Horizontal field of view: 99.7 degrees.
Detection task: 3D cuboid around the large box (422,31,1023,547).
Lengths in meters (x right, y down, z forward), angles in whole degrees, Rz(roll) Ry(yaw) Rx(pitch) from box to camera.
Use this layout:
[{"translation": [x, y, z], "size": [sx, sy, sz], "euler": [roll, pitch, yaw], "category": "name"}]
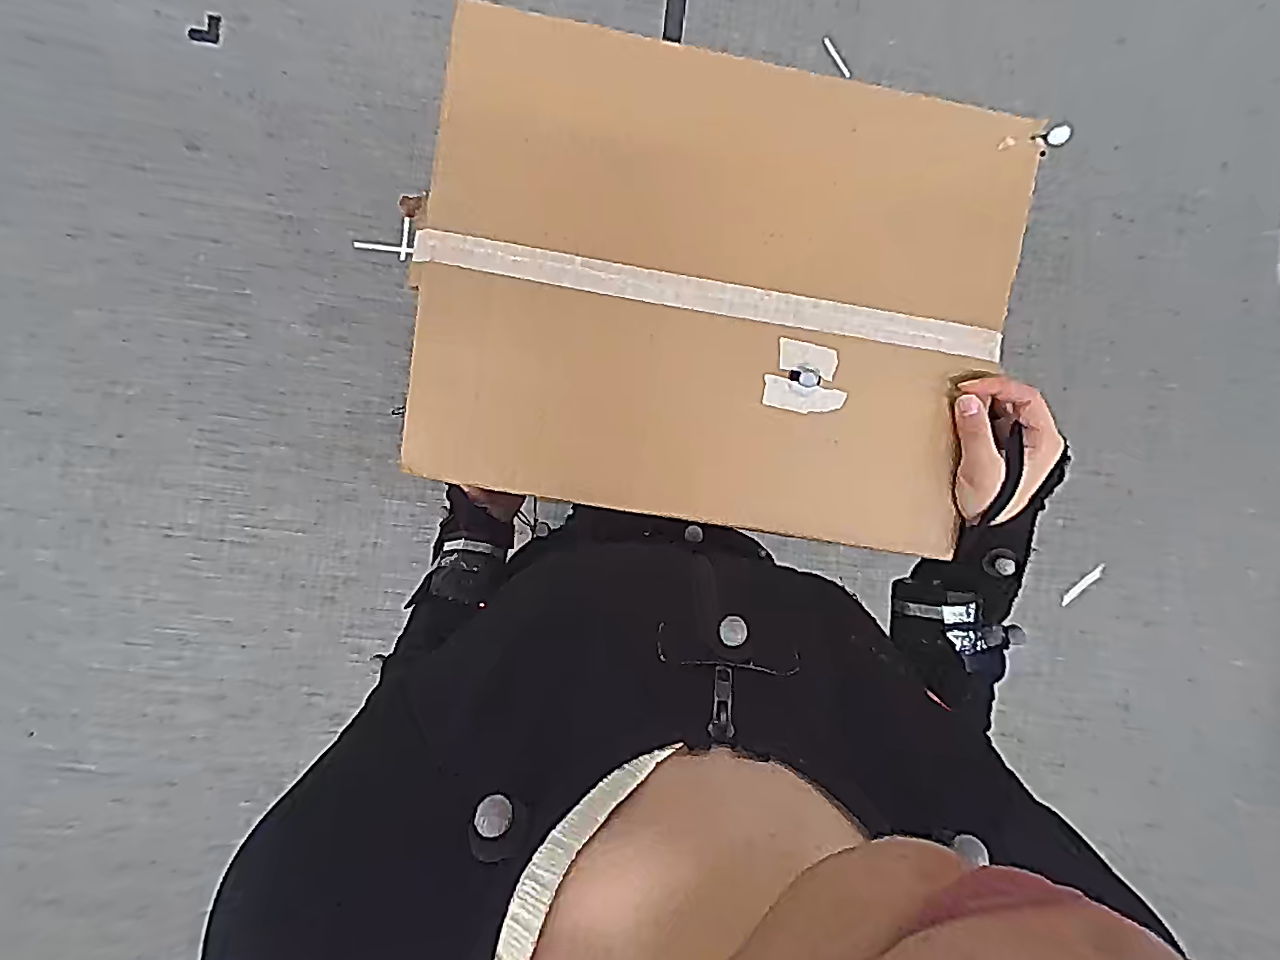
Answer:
[{"translation": [0.049, -0.137, 0.532], "size": [0.408, 0.320, 0.320], "euler": [8, 96, -5], "category": "large box"}]
